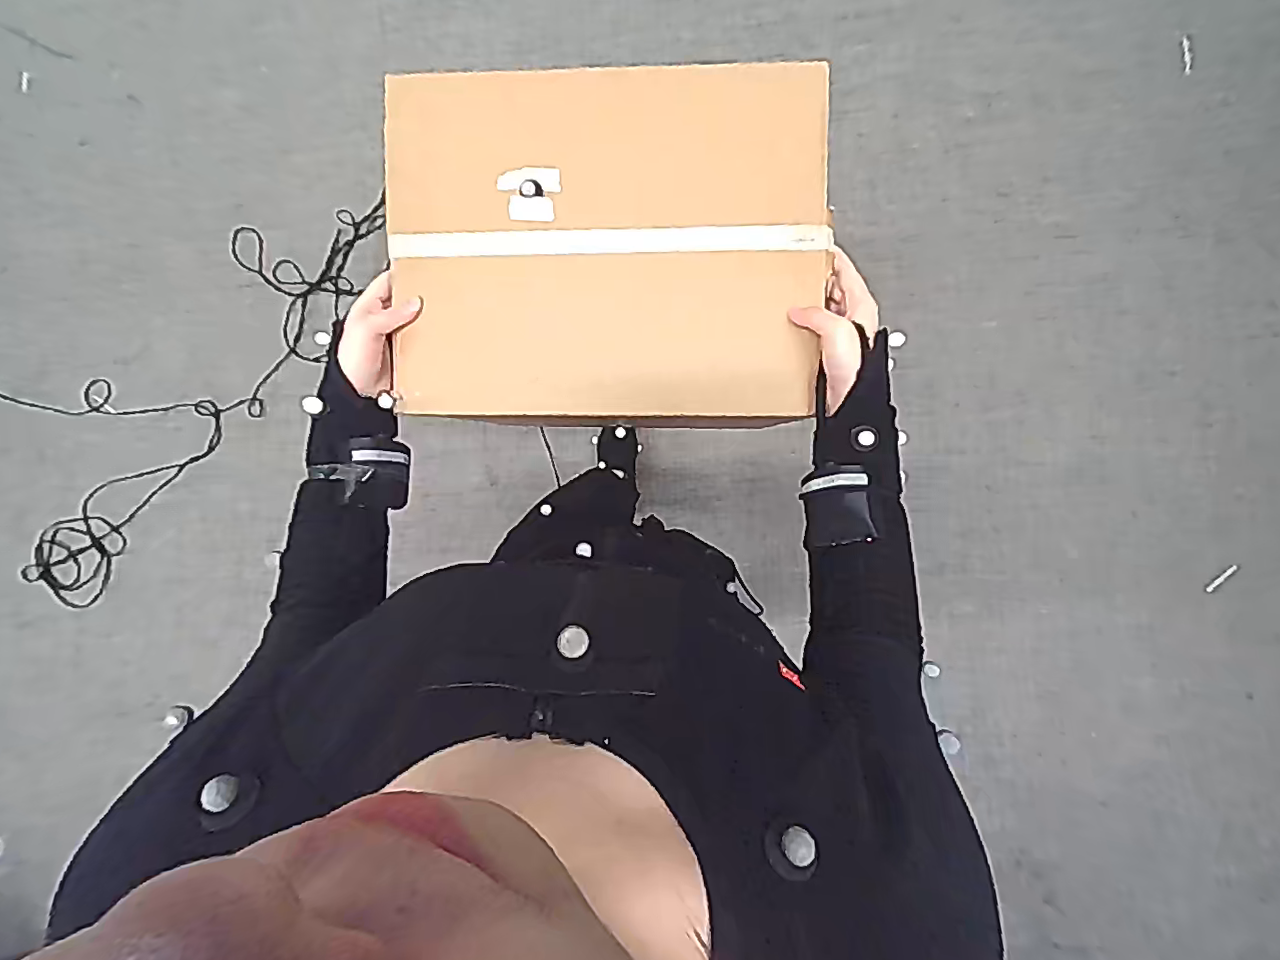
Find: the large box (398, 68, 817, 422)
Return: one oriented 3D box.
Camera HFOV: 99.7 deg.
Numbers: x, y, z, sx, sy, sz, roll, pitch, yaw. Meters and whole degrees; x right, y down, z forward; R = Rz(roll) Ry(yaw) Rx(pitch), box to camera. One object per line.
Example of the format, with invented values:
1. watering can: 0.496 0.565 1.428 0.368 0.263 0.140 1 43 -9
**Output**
1. large box: -0.021 -0.230 0.662 0.408 0.320 0.320 0 93 5
